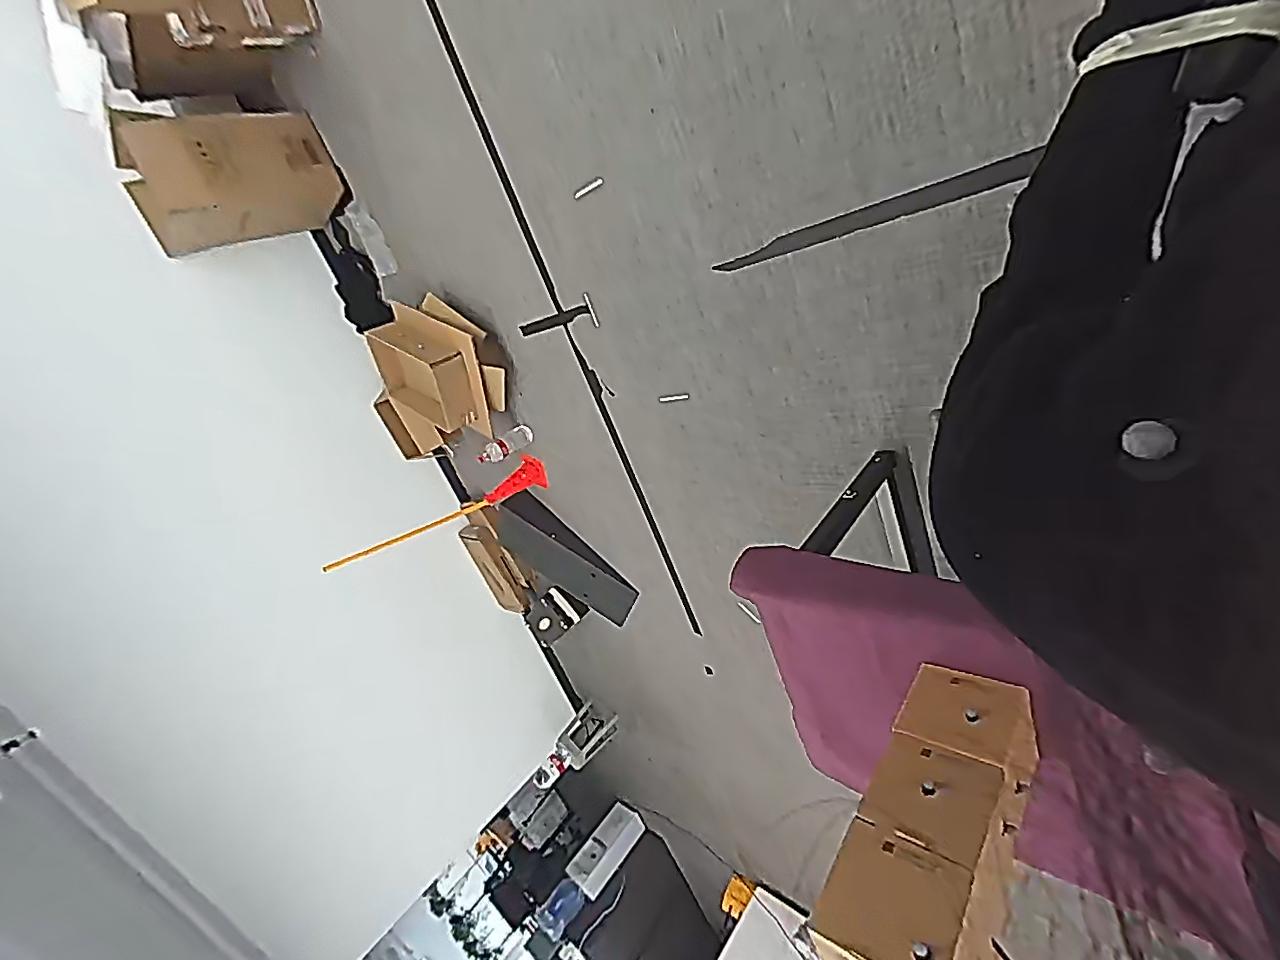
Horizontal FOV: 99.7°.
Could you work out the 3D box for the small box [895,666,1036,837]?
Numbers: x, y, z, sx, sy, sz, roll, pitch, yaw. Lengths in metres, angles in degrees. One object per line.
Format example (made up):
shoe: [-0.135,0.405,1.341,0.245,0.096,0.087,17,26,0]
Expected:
small box: [0.567,0.454,0.935,0.168,0.176,0.179,1,122,47]

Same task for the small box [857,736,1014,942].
small box: [0.464,0.541,0.841,0.168,0.176,0.179,2,122,46]
